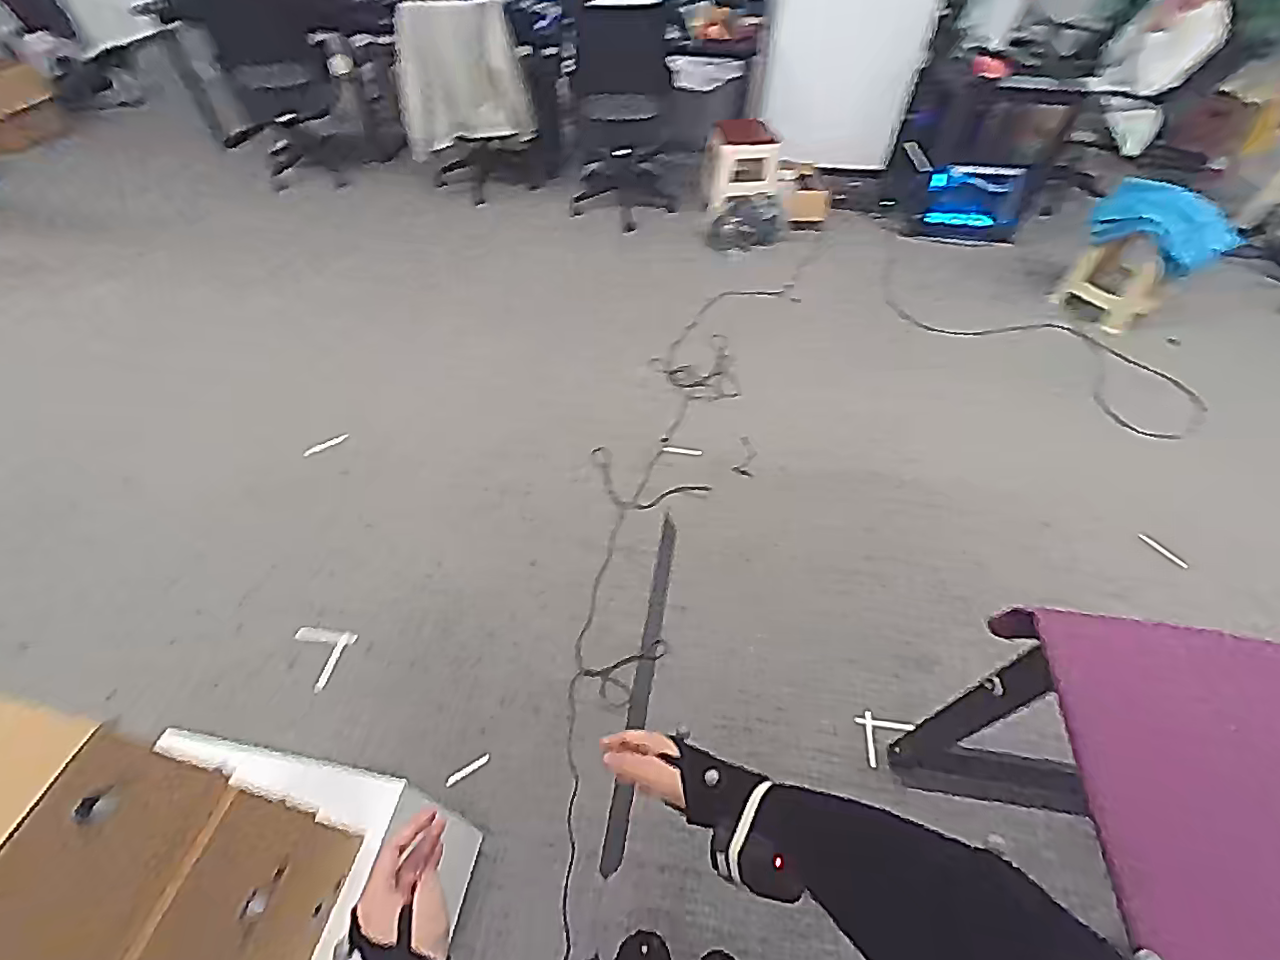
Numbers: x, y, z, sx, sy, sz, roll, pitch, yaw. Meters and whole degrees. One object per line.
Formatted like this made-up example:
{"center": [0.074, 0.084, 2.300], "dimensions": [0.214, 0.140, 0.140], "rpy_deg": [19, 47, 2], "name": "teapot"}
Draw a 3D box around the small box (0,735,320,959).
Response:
{"center": [-0.465, 0.373, 0.526], "dimensions": [0.179, 0.176, 0.168], "rpy_deg": [11, 52, 6], "name": "small box"}
